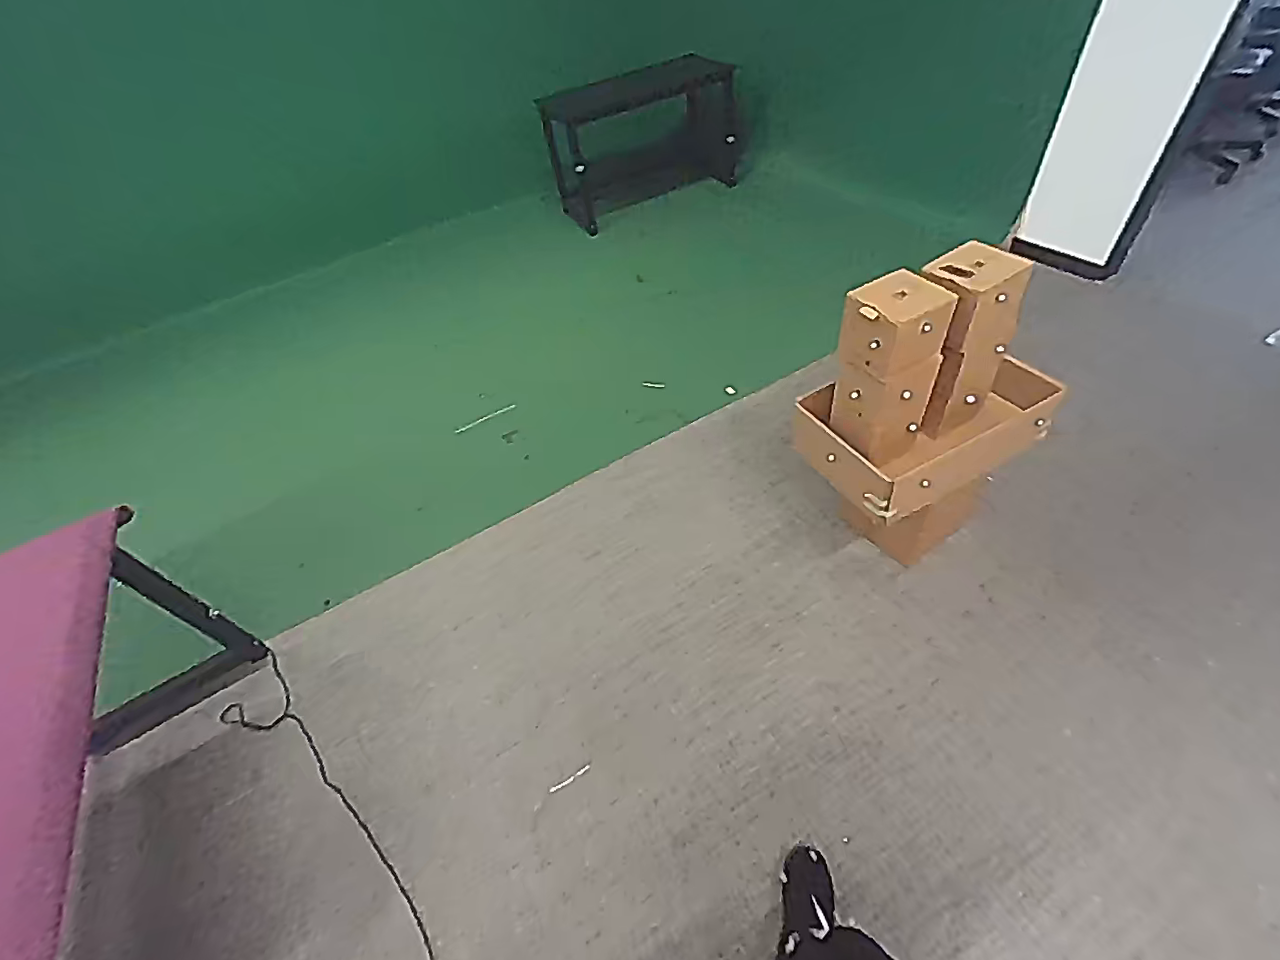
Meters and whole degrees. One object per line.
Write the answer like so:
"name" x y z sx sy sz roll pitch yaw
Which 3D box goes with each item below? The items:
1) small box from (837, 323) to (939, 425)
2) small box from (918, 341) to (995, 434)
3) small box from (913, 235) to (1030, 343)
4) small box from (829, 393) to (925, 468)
"small box" 0.634 -0.273 1.409 0.179 0.176 0.168 -26 49 -11
"small box" 0.883 -0.270 1.582 0.179 0.176 0.168 -29 50 -10
"small box" 0.801 -0.466 1.331 0.179 0.176 0.168 -31 50 -12
"small box" 0.659 -0.165 1.529 0.179 0.176 0.168 -25 48 -12
